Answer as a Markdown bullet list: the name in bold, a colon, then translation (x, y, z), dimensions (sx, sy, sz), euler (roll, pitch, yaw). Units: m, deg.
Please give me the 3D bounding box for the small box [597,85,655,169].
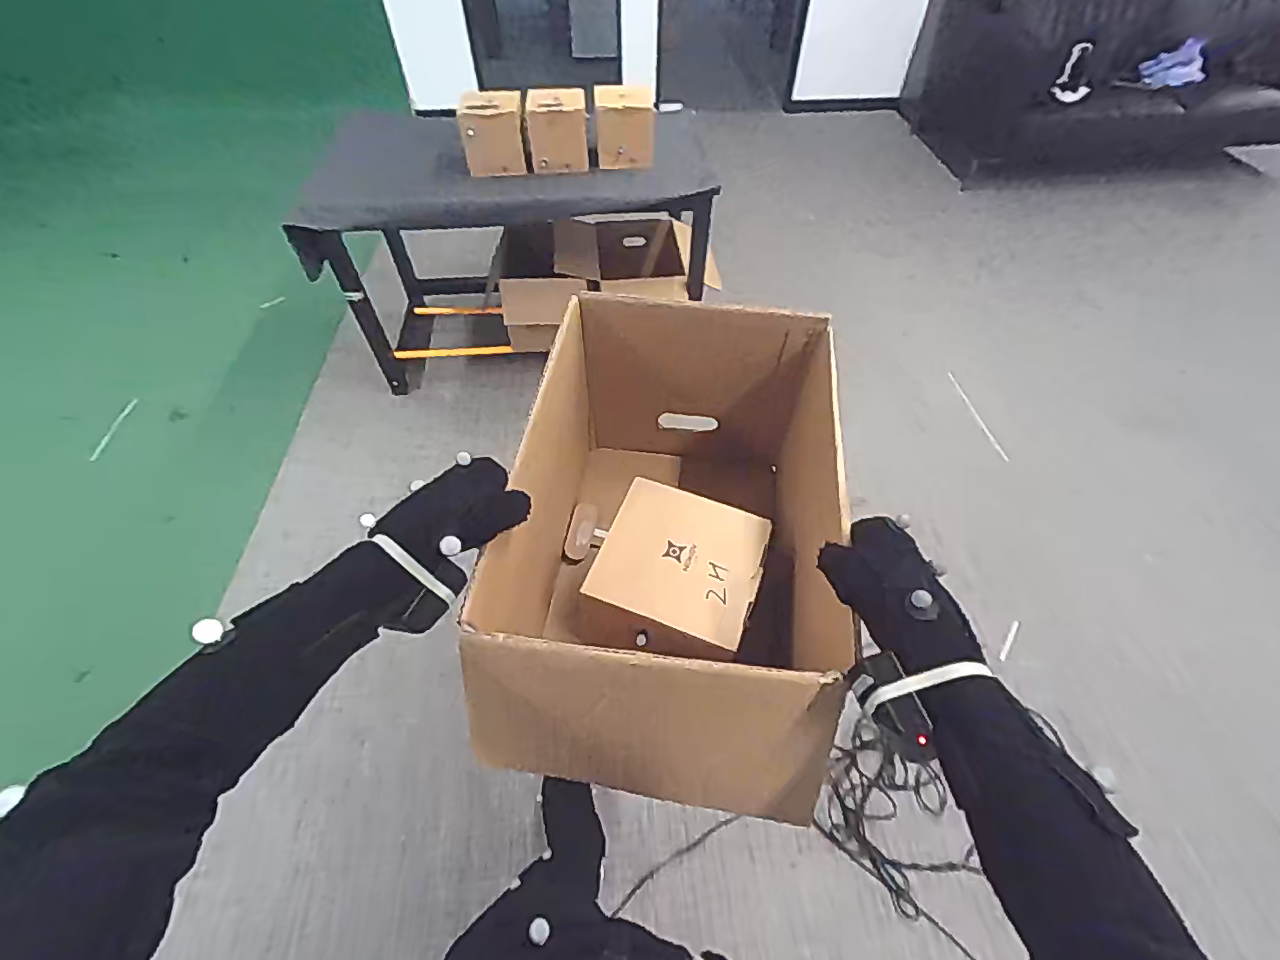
- **small box**: translation (-0.047, -1.068, 1.637), dimensions (0.168, 0.176, 0.179), euler (-3, 53, -3)
